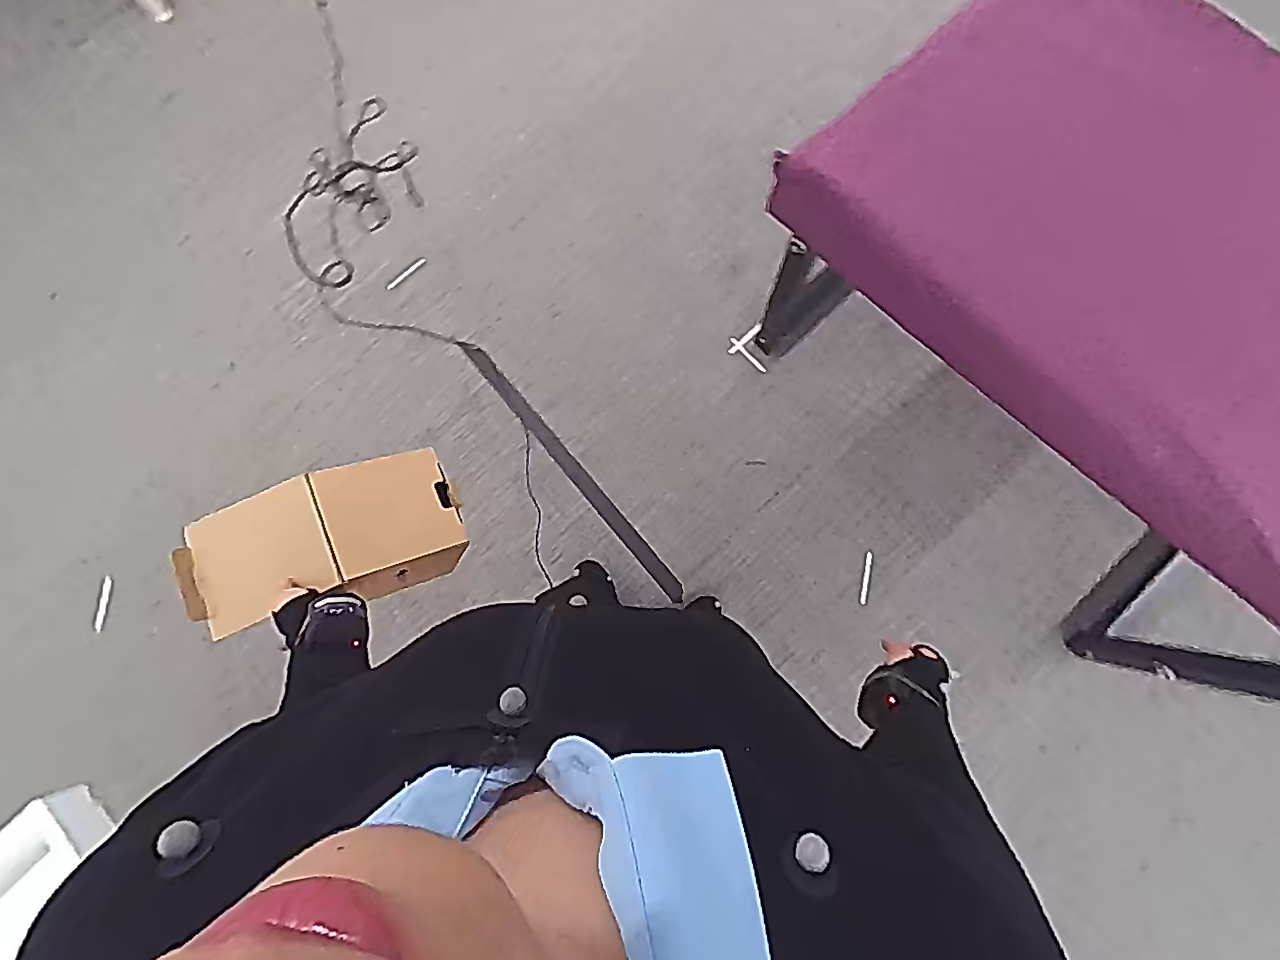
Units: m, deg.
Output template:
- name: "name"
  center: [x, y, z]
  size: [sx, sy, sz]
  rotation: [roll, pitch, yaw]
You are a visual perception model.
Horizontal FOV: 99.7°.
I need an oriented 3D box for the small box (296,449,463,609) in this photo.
- name: "small box"
  center: [-0.393, 0.077, 0.817]
  size: [0.179, 0.176, 0.168]
  rotation: [-18, 76, -35]
